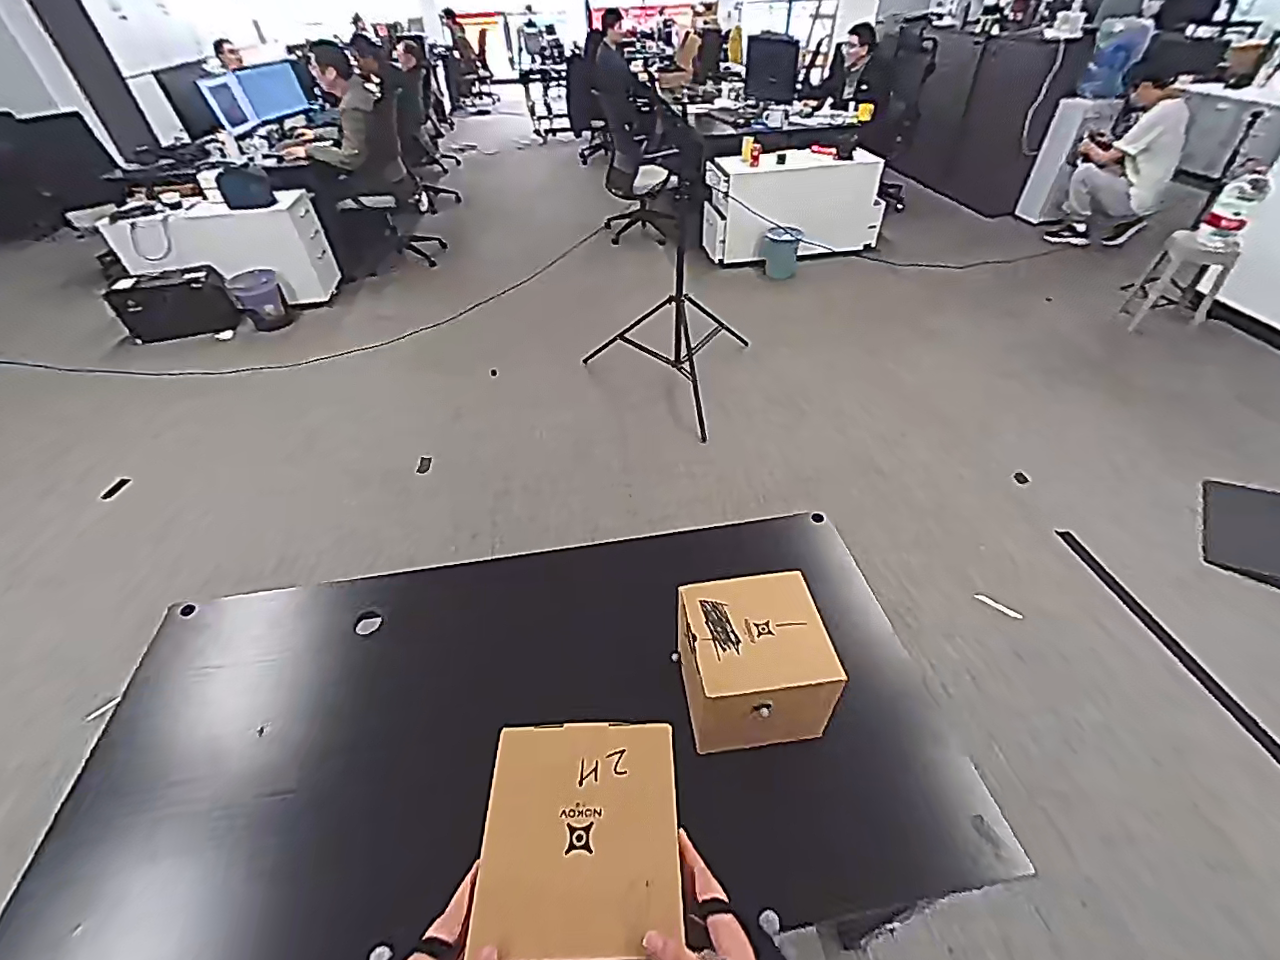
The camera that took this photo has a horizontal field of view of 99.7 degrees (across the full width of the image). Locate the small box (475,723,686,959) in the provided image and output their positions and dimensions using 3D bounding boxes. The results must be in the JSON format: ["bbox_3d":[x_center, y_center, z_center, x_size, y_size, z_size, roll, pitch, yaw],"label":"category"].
[{"bbox_3d":[-0.044,0.358,0.522,0.168,0.176,0.179,0,41,-1],"label":"small box"}]

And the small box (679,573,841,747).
[{"bbox_3d":[0.154,0.255,0.763,0.179,0.176,0.168,-6,43,-4],"label":"small box"}]
